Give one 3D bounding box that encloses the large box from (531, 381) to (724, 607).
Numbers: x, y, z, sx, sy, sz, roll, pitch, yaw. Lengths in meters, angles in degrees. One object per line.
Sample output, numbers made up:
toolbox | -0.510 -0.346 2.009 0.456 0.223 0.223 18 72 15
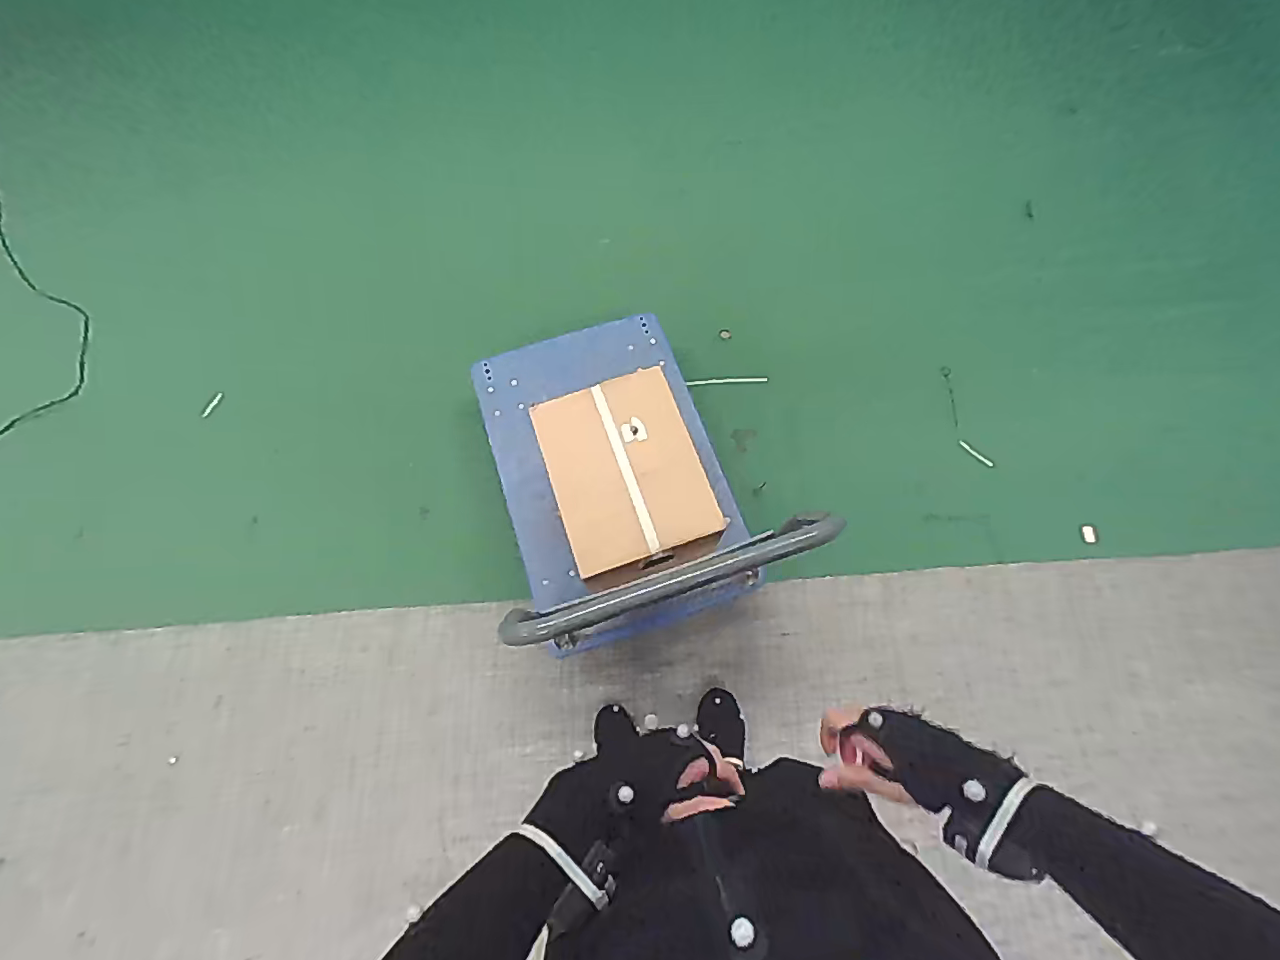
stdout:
large box | -0.028 0.046 1.294 0.320 0.320 0.408 -19 70 -6
